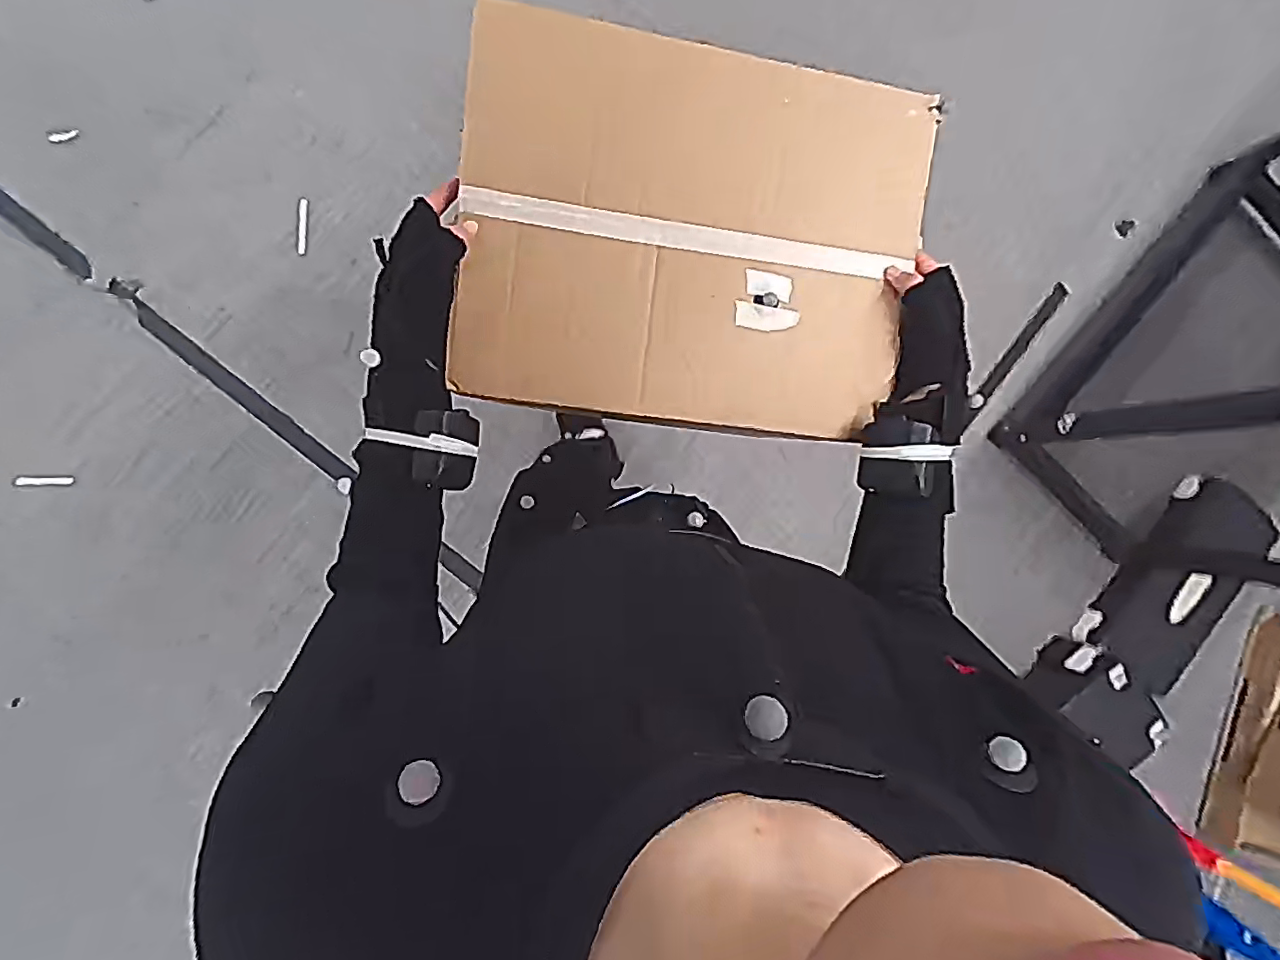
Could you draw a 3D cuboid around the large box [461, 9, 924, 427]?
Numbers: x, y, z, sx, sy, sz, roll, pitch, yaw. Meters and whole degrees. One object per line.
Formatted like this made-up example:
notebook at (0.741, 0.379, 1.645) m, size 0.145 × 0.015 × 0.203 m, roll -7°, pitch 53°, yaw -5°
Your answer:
large box at (0.031, -0.235, 0.630) m, size 0.408 × 0.320 × 0.320 m, roll 6°, pitch 96°, yaw -9°
